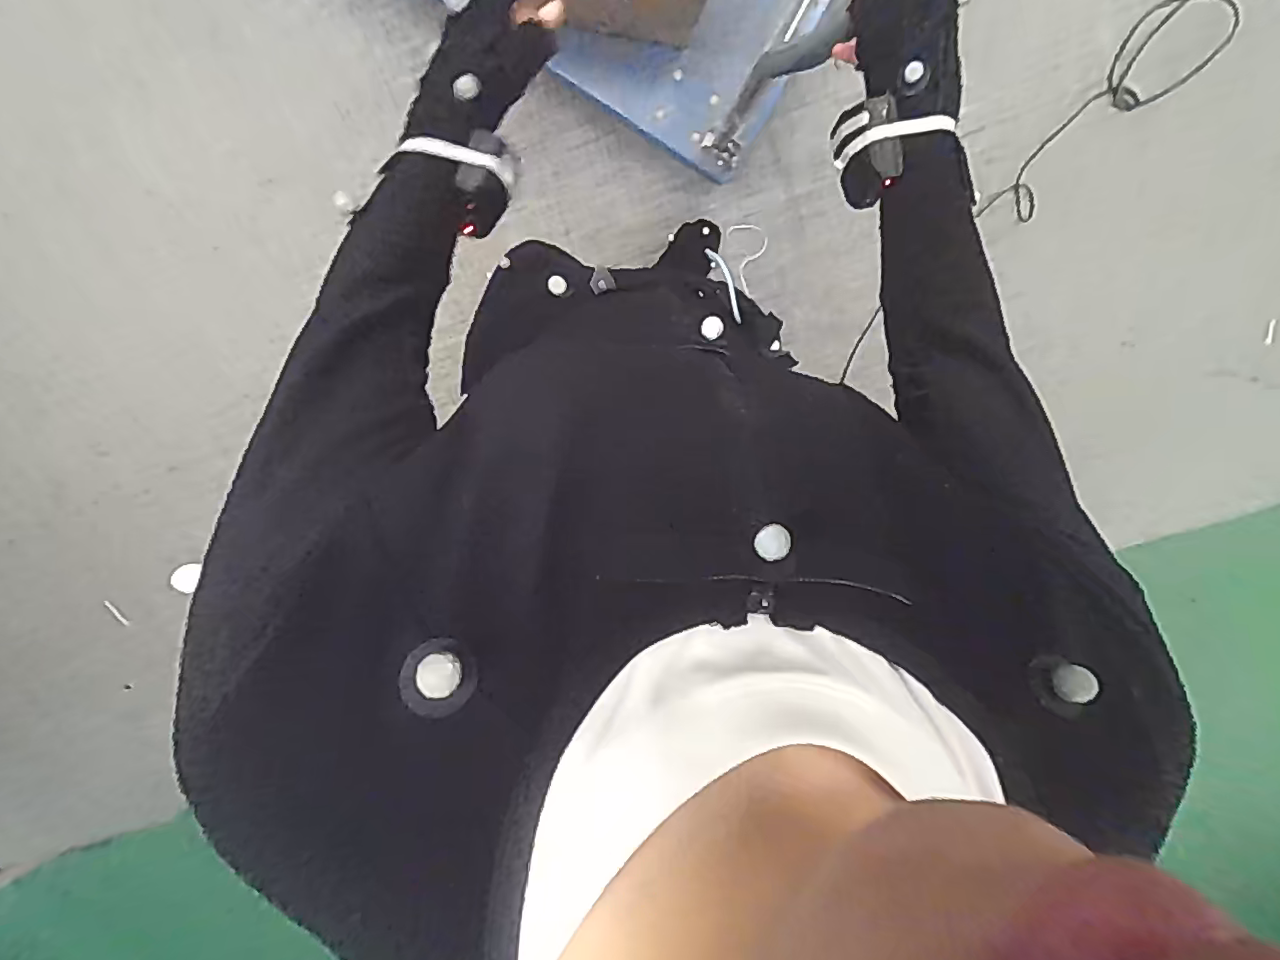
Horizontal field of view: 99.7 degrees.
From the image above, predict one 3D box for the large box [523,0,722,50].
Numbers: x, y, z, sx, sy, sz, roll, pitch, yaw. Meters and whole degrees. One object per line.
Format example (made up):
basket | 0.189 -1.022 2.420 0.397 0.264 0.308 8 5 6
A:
large box | -0.018 -0.922 0.775 0.320 0.320 0.408 5 116 -4
